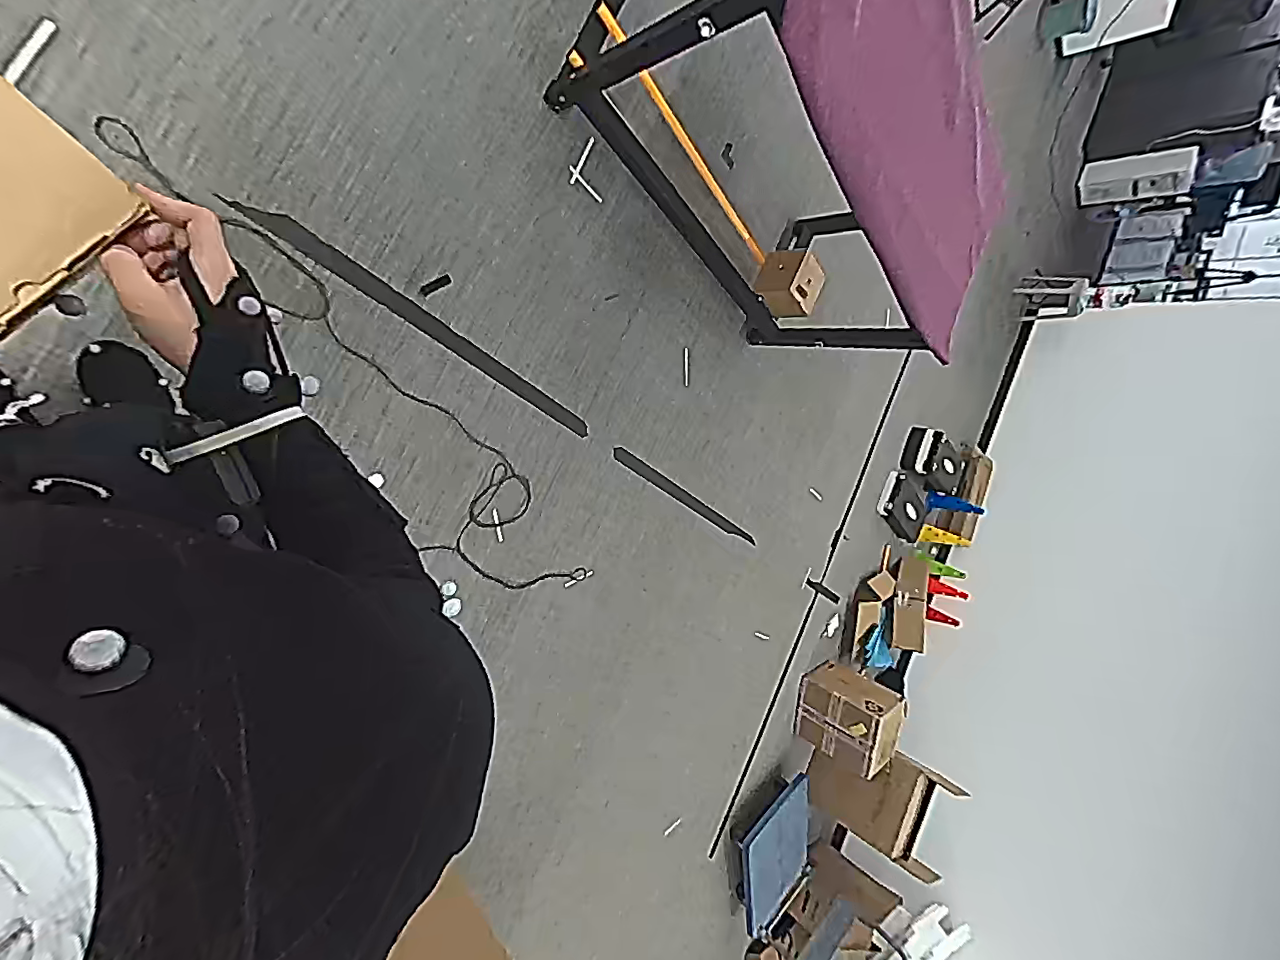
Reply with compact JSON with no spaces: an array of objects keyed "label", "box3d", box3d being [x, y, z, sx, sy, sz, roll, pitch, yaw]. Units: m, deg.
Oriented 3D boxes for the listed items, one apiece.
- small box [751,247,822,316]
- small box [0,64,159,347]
[{"label":"small box","box3d":[0.532,-0.719,1.982,0.168,0.176,0.179,33,78,-44]},{"label":"small box","box3d":[-0.427,-0.173,0.302,0.168,0.176,0.179,-52,134,-15]}]
